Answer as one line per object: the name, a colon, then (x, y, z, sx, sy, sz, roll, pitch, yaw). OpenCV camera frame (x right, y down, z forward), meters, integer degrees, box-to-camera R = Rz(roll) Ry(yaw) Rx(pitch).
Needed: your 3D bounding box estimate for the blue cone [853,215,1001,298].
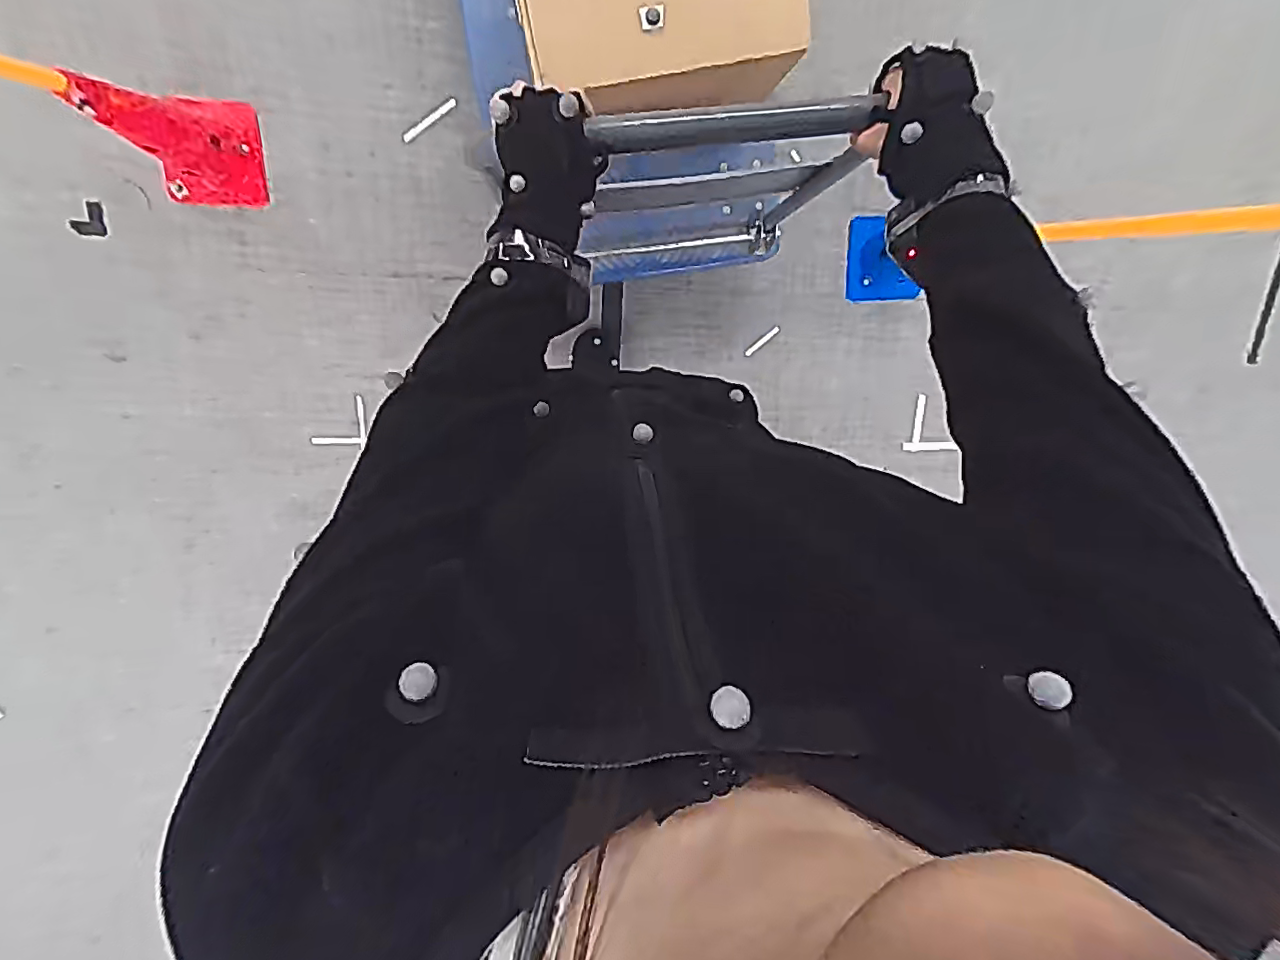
blue cone: (0.644, -0.517, 1.198, 0.193, 0.380, 0.192, -3, 105, -6)
